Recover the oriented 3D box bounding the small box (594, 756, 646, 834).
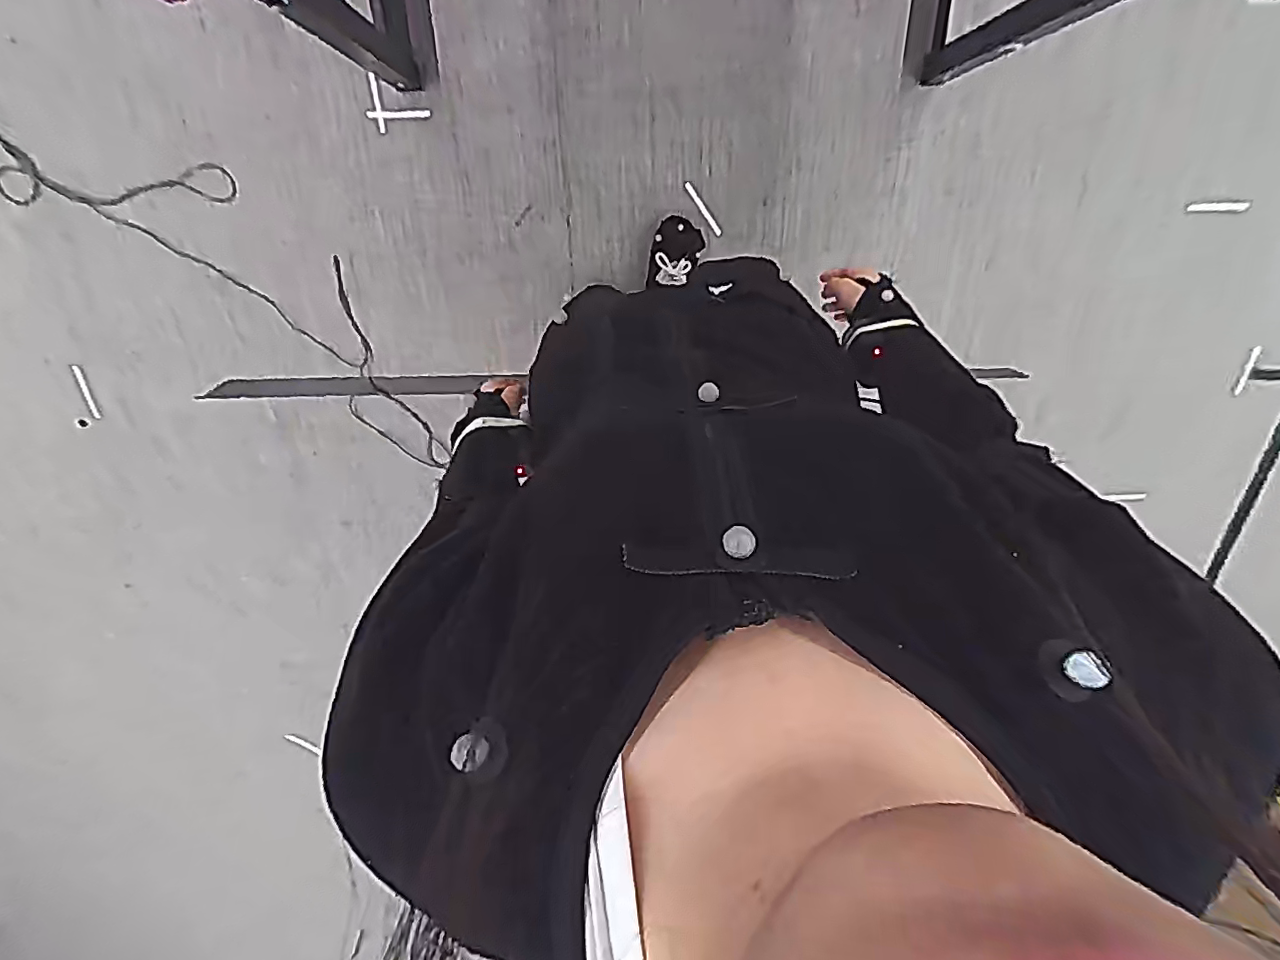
[{"bbox_3d":[-0.072,1.130,1.947,0.168,0.176,0.179,-8,115,-1],"label":"small box"}]
